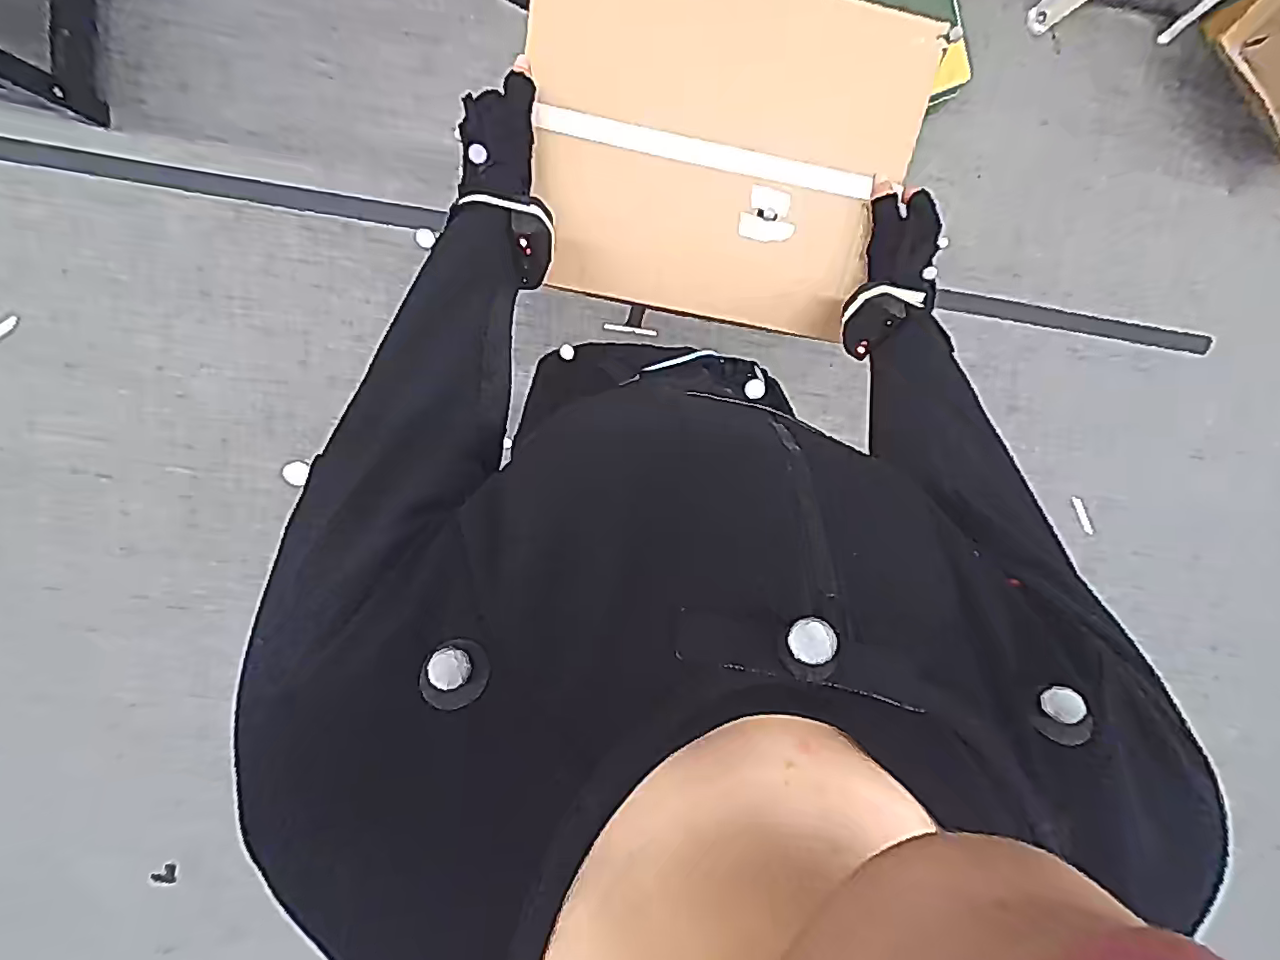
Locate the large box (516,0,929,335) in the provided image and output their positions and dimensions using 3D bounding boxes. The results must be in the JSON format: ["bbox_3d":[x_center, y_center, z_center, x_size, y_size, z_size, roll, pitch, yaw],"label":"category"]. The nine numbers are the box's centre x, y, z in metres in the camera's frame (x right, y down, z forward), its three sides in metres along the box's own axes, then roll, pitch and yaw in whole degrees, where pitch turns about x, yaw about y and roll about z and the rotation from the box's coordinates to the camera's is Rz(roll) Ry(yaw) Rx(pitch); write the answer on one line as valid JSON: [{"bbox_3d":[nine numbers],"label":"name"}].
[{"bbox_3d":[0.069,-0.388,0.719,0.408,0.320,0.320,9,108,-7],"label":"large box"}]
